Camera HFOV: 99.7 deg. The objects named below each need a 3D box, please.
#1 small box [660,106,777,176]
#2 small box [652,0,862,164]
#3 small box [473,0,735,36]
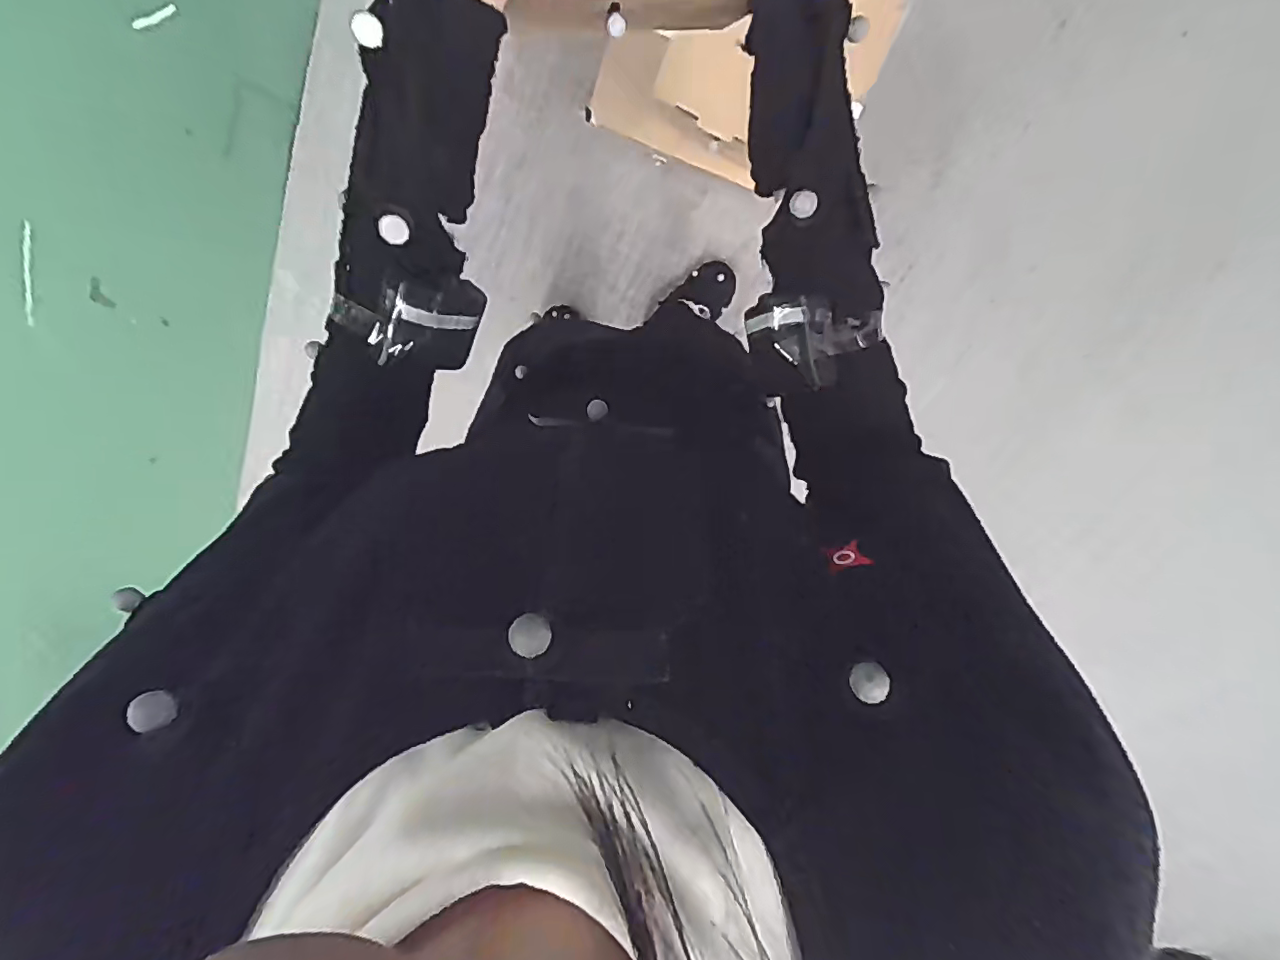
[{"bbox_3d":[0.150,-0.565,0.782,0.179,0.176,0.168,27,118,-4],"label":"small box"},{"bbox_3d":[0.132,-0.496,0.635,0.168,0.176,0.179,25,119,-4],"label":"small box"},{"bbox_3d":[-0.021,-0.354,0.287,0.179,0.176,0.168,-6,124,-3],"label":"small box"}]
